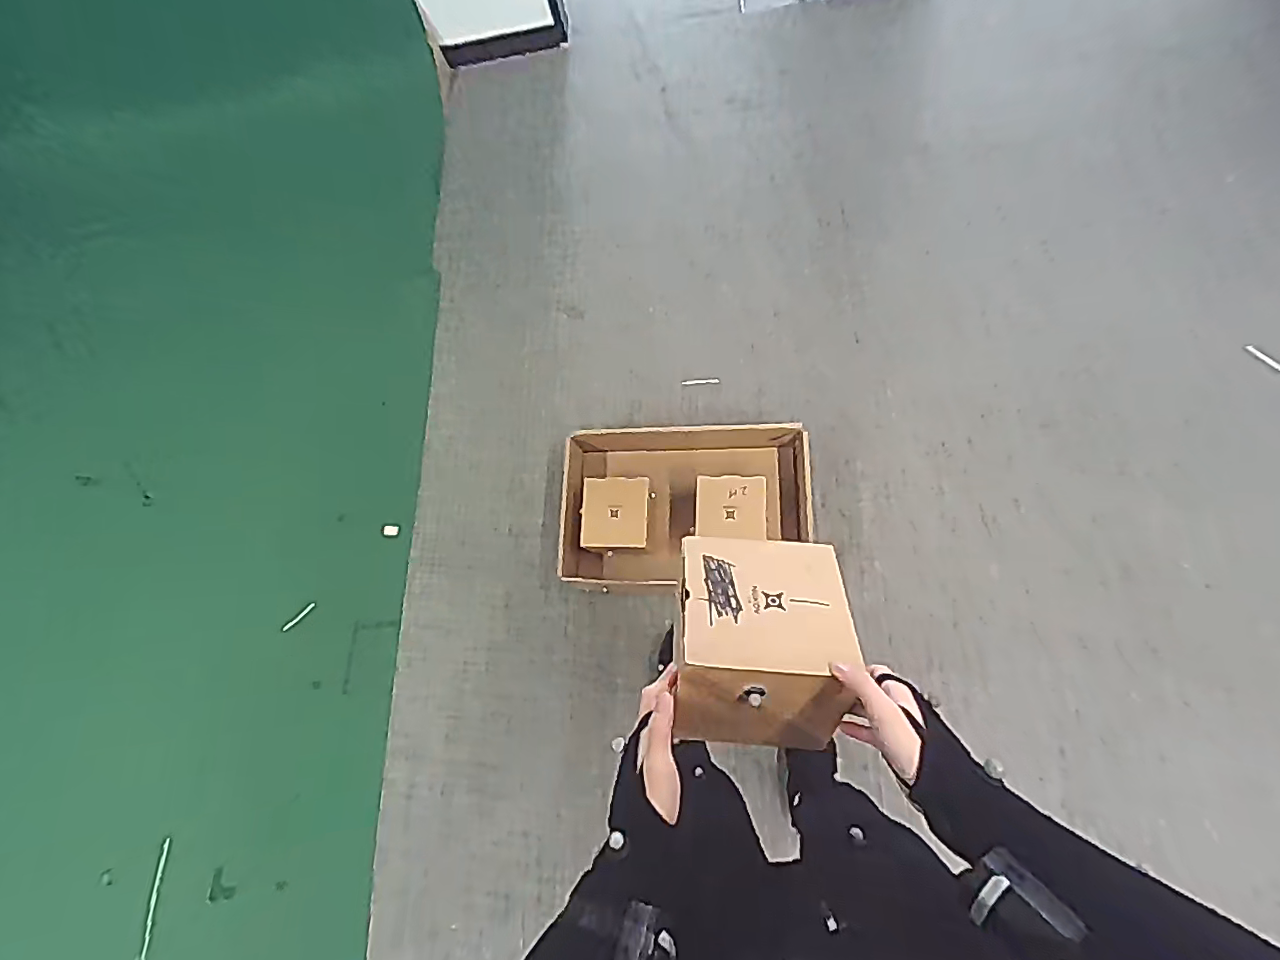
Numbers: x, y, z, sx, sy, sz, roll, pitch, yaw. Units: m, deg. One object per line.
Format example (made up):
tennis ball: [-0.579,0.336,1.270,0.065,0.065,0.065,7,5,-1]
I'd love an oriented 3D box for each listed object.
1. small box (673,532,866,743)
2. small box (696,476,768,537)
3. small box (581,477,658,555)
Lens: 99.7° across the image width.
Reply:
small box: [0.130,0.181,0.617,0.179,0.176,0.168,5,43,2]
small box: [0.232,0.095,1.348,0.168,0.176,0.179,1,75,11]
small box: [-0.046,0.098,1.398,0.168,0.176,0.179,0,74,10]
